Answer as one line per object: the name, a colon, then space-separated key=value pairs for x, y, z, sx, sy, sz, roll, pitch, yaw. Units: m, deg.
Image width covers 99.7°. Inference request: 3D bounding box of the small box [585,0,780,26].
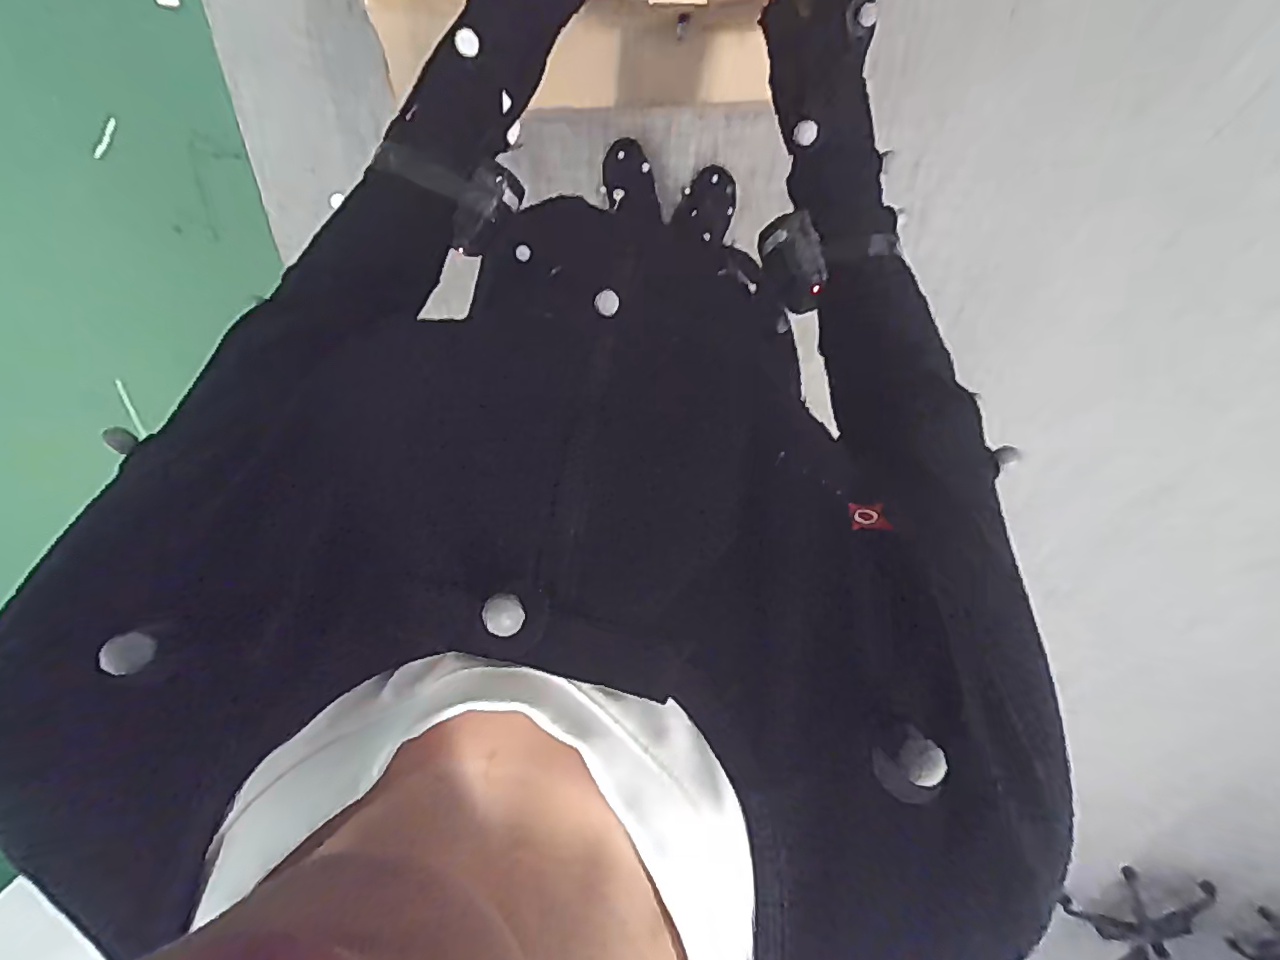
small box: x=0.043 y=-0.480 z=0.426 sx=0.168 sy=0.176 sz=0.179 roll=3 pitch=122 yaw=4
